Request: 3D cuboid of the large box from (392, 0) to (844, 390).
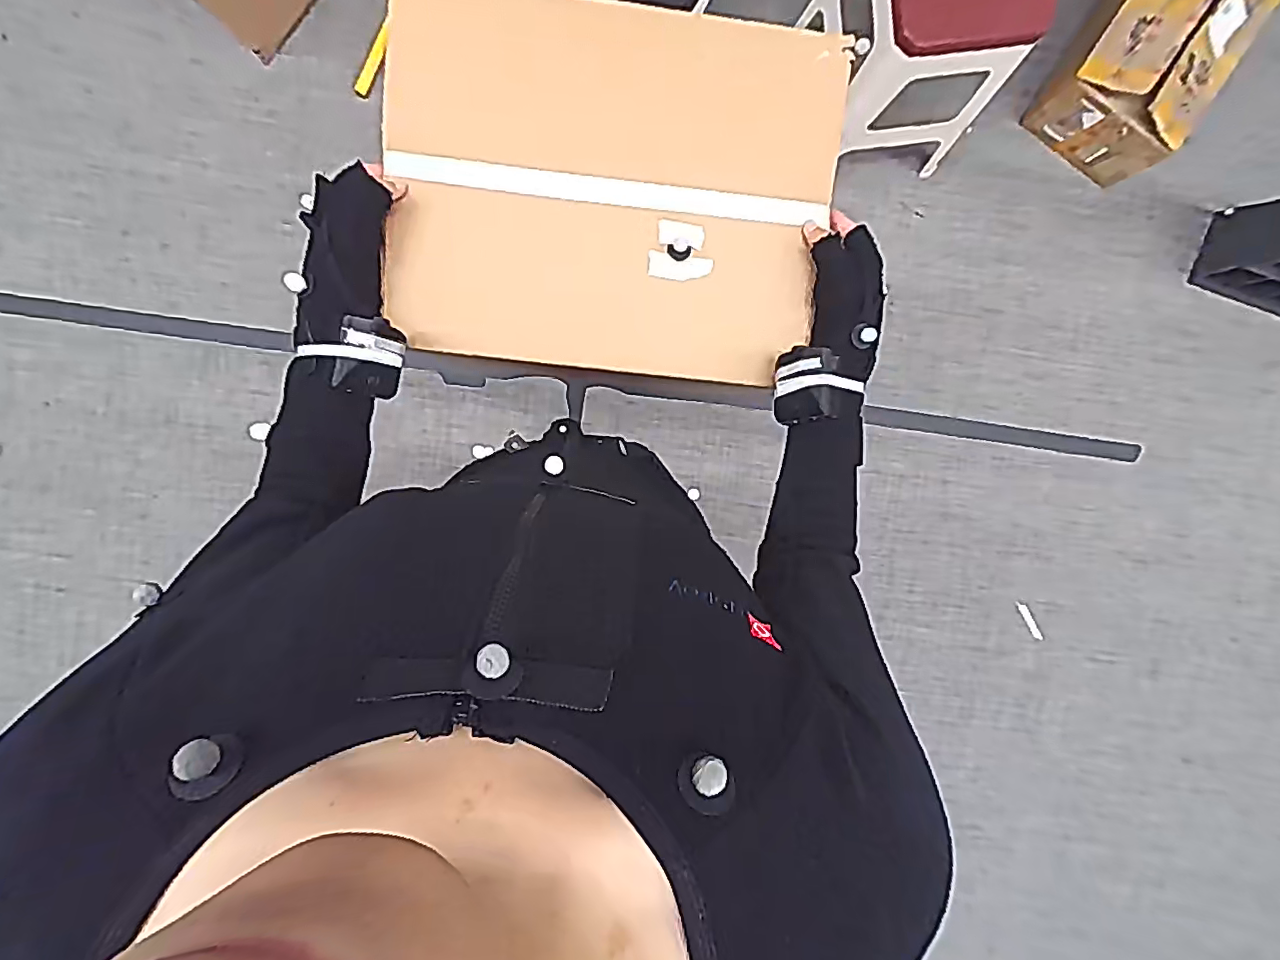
[{"bbox_3d":[-0.033,-0.283,0.645,0.408,0.320,0.320,5,98,-4],"label":"large box"}]
